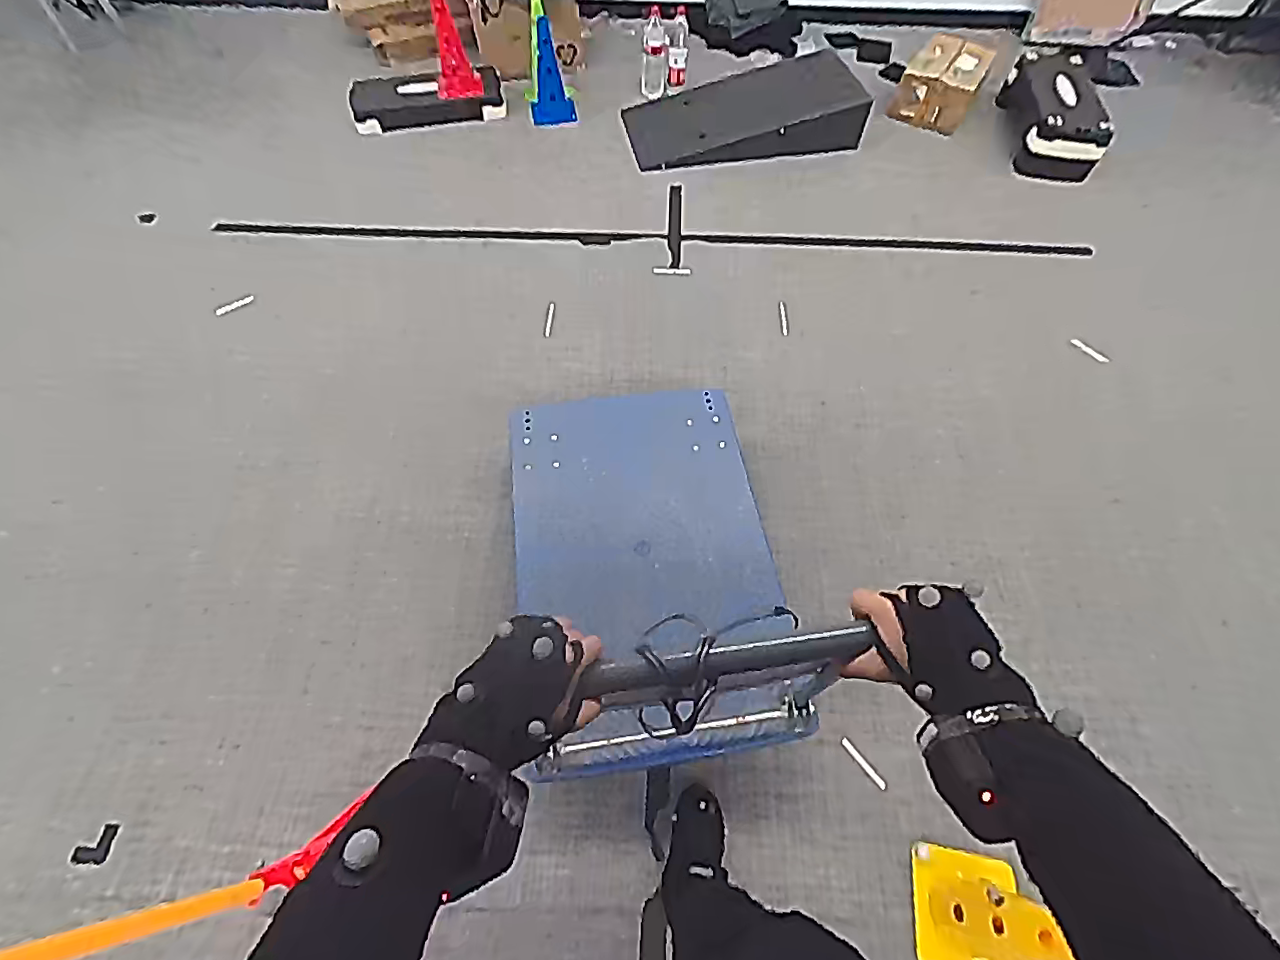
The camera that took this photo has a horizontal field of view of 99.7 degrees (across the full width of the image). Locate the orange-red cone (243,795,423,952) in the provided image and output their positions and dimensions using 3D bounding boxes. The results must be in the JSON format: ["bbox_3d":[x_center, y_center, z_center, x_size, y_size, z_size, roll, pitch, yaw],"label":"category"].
[{"bbox_3d":[-0.546,0.674,0.913,0.199,0.360,0.198,-38,68,-22],"label":"orange-red cone"}]
